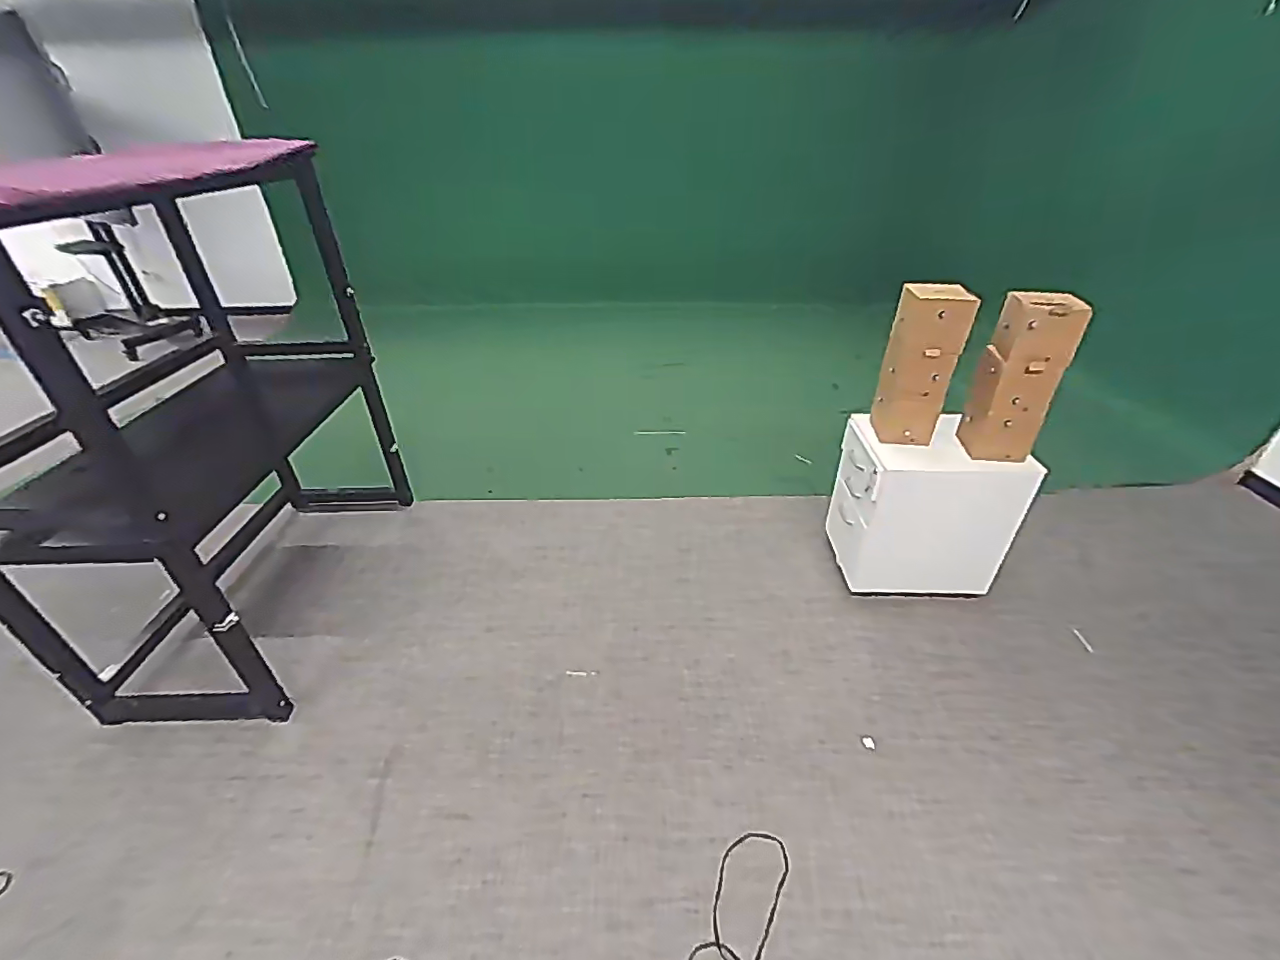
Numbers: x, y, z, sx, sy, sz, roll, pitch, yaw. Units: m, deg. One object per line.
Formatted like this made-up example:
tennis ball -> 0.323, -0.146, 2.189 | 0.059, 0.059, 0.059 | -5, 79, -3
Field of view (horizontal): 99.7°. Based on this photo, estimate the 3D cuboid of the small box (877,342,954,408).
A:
small box -> 0.912, -0.351, 1.808 | 0.168, 0.176, 0.179 | 5, 33, 5

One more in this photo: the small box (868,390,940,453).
small box -> 0.916, -0.214, 1.895 | 0.168, 0.176, 0.179 | 4, 35, 6

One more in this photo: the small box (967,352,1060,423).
small box -> 1.171, -0.294, 1.716 | 0.168, 0.176, 0.179 | 4, 34, 7

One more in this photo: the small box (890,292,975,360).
small box -> 0.915, -0.488, 1.717 | 0.179, 0.176, 0.168 | 4, 35, 4

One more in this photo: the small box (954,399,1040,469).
small box -> 1.177, -0.155, 1.800 | 0.168, 0.176, 0.179 | 4, 33, 8
